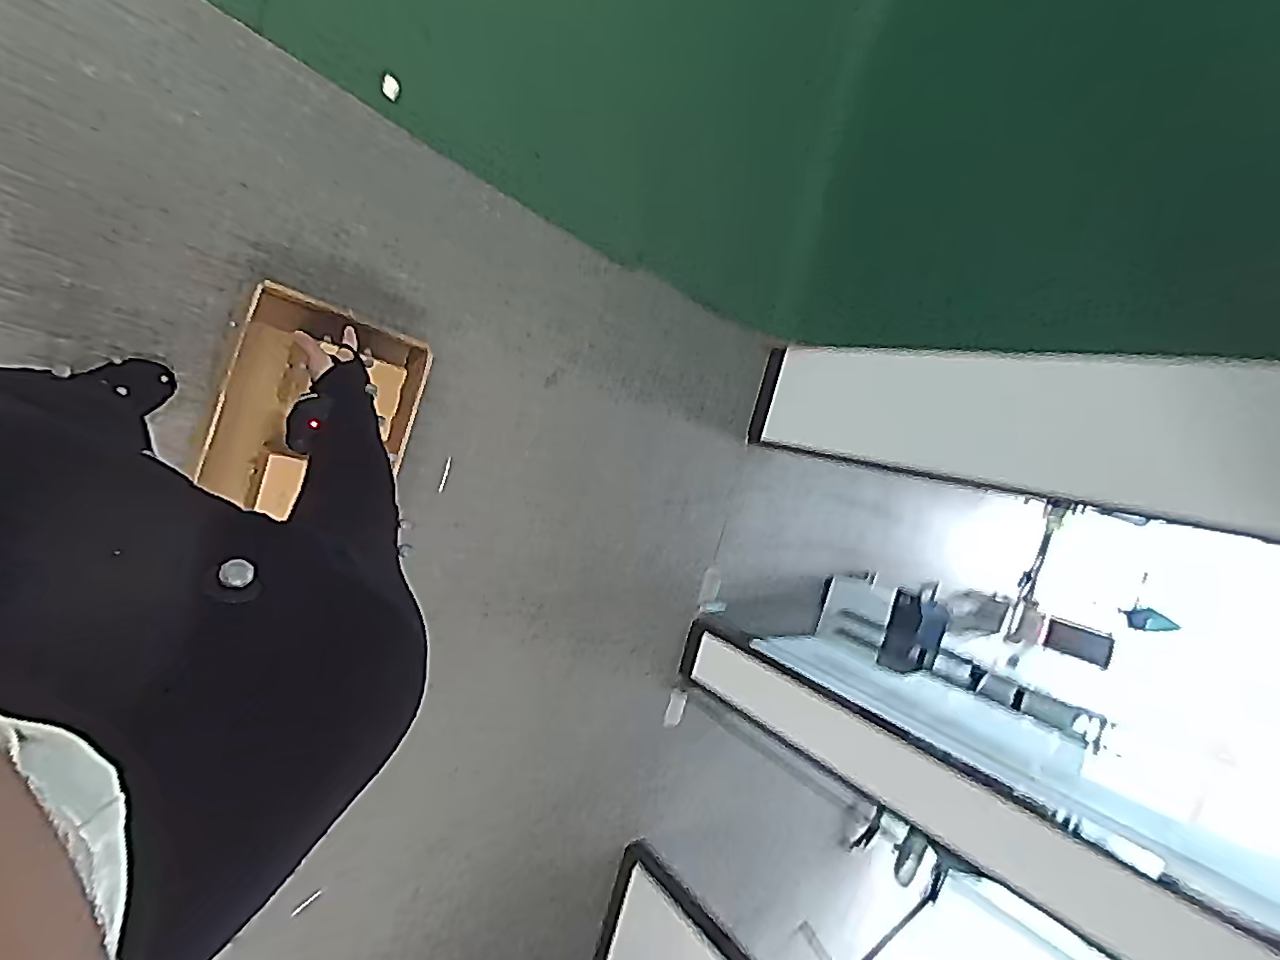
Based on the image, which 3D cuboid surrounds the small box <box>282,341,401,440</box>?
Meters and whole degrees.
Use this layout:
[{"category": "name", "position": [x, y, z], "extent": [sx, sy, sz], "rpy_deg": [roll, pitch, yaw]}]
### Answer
[{"category": "small box", "position": [-0.663, -0.198, 1.194], "extent": [0.179, 0.176, 0.168], "rpy_deg": [16, 92, -44]}]

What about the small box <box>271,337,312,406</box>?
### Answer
[{"category": "small box", "position": [-0.768, -0.238, 1.312], "extent": [0.179, 0.176, 0.168], "rpy_deg": [17, 92, -44]}]
